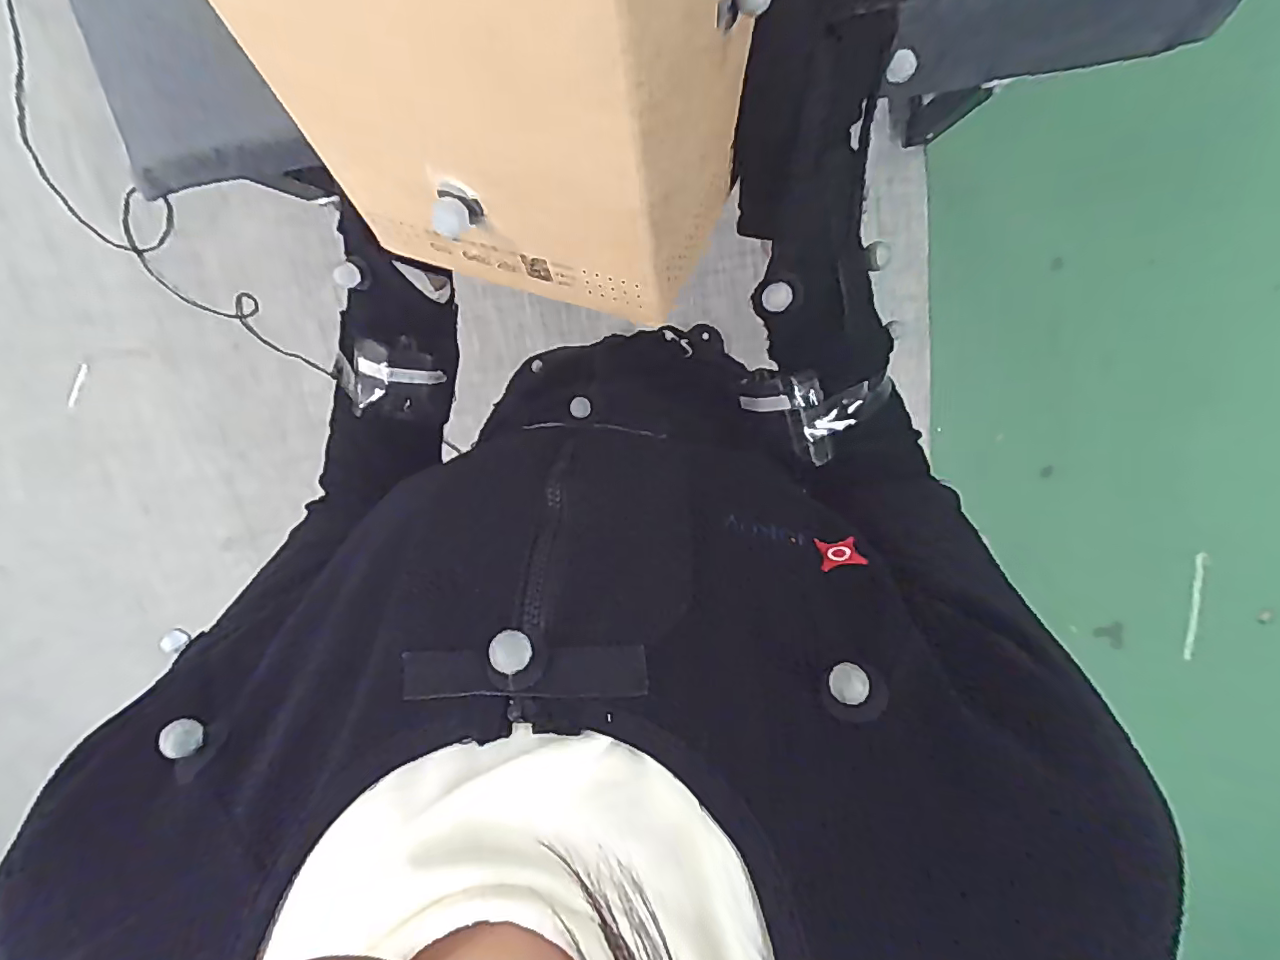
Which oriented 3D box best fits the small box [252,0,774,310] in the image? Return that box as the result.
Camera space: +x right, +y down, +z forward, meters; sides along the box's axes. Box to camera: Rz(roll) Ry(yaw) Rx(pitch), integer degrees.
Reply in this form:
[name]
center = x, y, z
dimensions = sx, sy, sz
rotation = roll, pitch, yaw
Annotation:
[small box]
center = -0.041, -0.210, 0.229
dimensions = 0.168, 0.176, 0.179
rotation = 21, 72, 14
